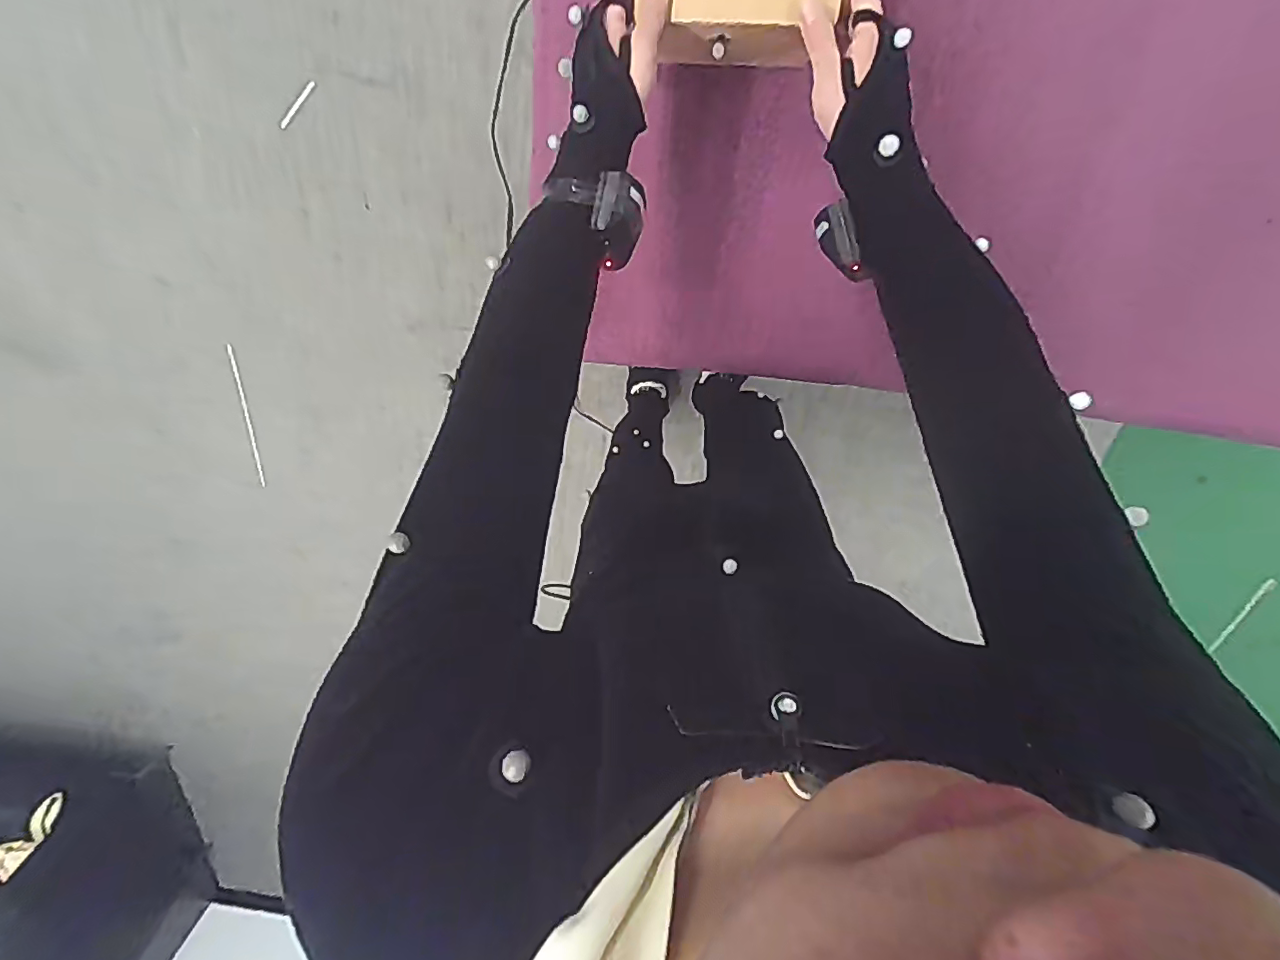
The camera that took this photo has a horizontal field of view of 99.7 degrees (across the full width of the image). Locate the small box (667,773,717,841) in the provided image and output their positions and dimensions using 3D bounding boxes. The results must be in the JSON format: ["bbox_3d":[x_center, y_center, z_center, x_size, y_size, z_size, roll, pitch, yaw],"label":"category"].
[{"bbox_3d":[0.211,1.331,2.210,0.179,0.176,0.168,9,118,1],"label":"small box"}]

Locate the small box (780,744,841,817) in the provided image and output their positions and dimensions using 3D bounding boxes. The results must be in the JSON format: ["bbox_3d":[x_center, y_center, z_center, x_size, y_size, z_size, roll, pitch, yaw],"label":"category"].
[{"bbox_3d":[0.646,1.146,2.070,0.168,0.176,0.179,10,118,1],"label":"small box"}]

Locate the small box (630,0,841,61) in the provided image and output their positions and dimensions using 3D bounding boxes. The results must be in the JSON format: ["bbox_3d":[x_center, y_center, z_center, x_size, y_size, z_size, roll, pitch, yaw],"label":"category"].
[{"bbox_3d":[0.090,-0.496,0.485,0.179,0.176,0.168,5,118,4],"label":"small box"}]
